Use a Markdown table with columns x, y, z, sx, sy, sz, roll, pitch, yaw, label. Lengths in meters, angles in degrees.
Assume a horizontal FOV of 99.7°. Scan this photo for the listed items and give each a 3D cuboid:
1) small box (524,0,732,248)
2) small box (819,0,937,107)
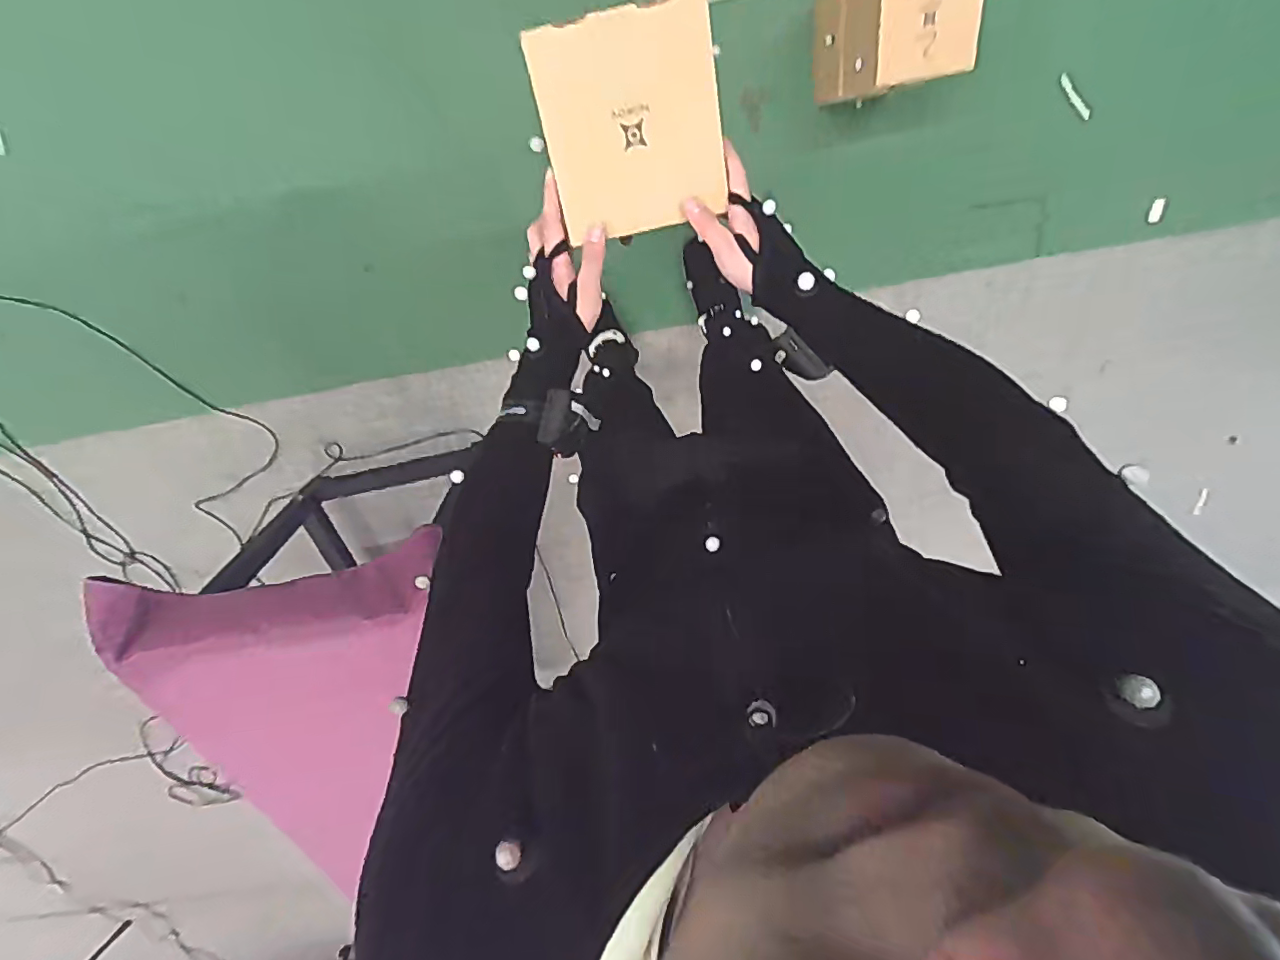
| x | y | z | sx | sy | sz | roll | pitch | yaw | label |
| --- | --- | --- | --- | --- | --- | --- | --- | --- | --- |
| -0.009 | -0.358 | 0.567 | 0.168 | 0.176 | 0.179 | -12 | 117 | 1 | small box |
| 0.465 | -0.871 | 1.082 | 0.168 | 0.176 | 0.179 | -7 | 120 | 3 | small box |
